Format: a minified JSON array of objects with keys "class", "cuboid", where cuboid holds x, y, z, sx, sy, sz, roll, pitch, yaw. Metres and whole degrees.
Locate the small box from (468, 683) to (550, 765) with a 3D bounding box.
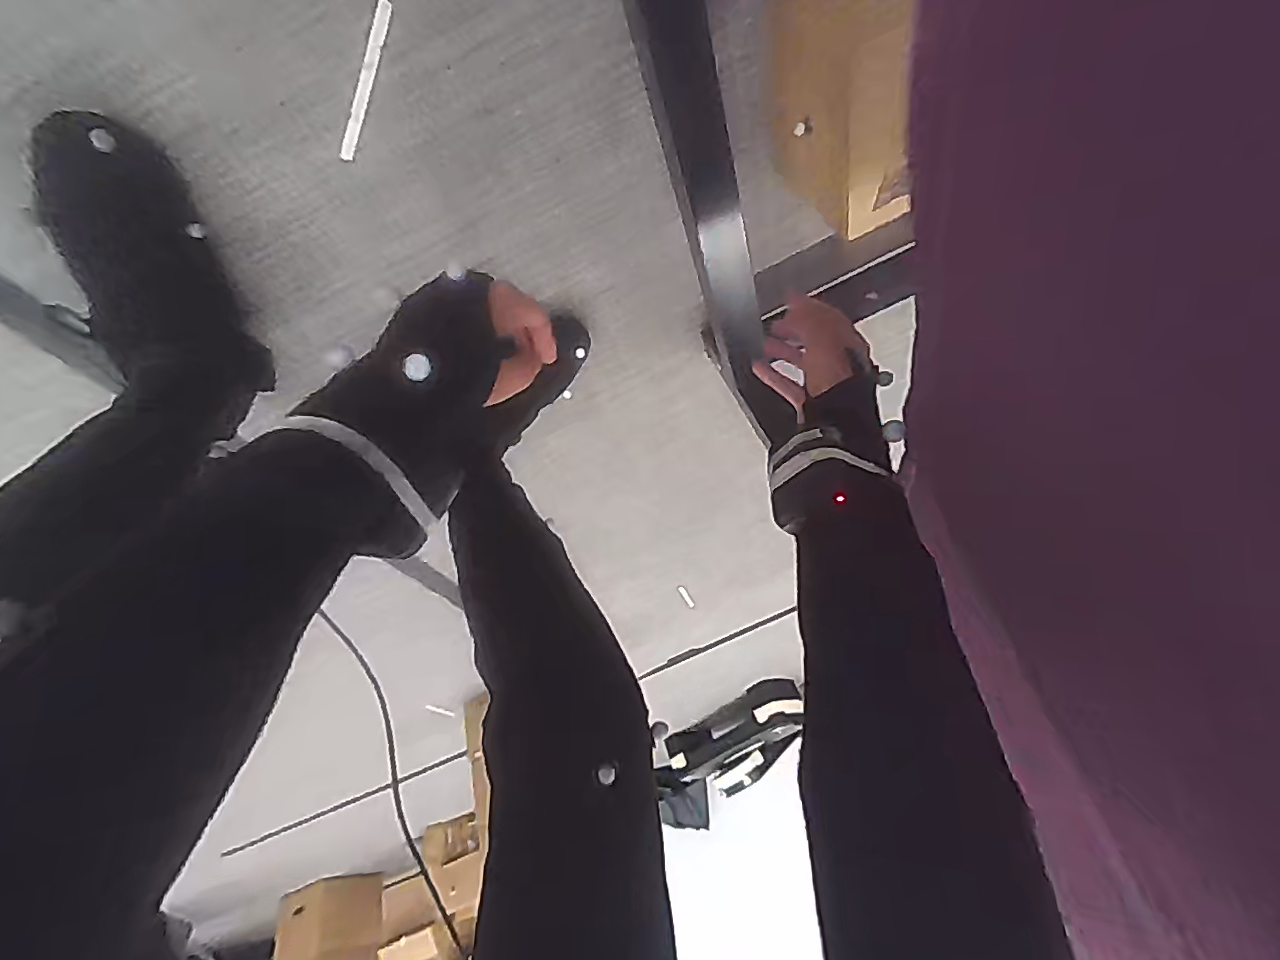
[{"class":"small box","cuboid":[-0.391,0.724,1.607,0.168,0.176,0.179,-26,142,7]}]
